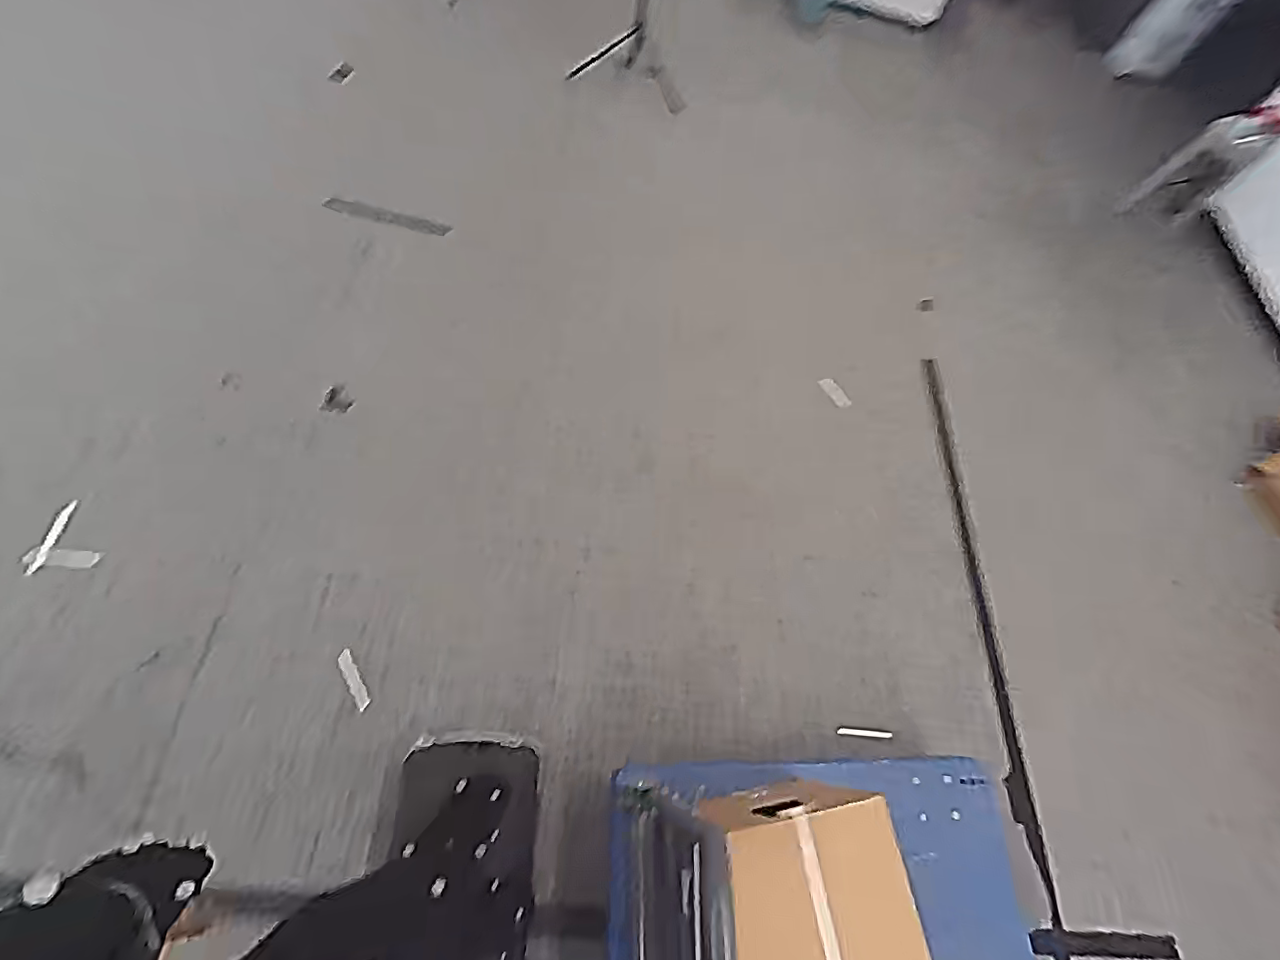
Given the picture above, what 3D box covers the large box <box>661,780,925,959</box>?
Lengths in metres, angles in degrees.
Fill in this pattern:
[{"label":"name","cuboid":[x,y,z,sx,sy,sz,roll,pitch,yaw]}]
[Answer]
[{"label":"large box","cuboid":[0.247,0.772,0.913,0.320,0.320,0.408,-4,67,-14]}]
